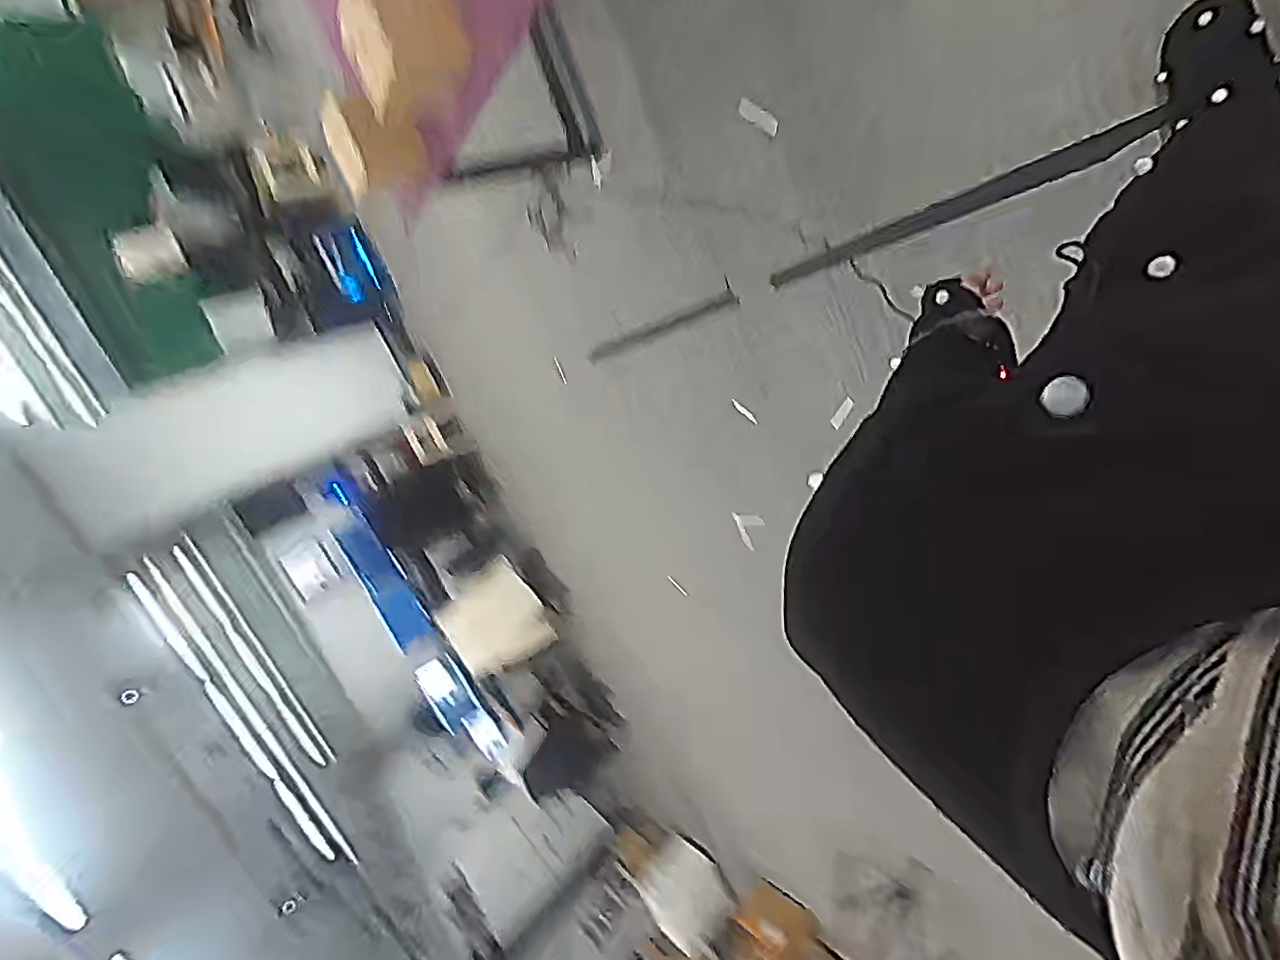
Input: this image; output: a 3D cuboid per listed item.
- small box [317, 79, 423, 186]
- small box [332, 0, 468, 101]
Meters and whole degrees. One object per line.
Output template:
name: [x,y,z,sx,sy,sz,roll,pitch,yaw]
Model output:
small box: [-0.671,-0.869,1.349,0.168,0.176,0.179,0,116,53]
small box: [-0.454,-0.868,1.035,0.179,0.176,0.168,2,119,54]
